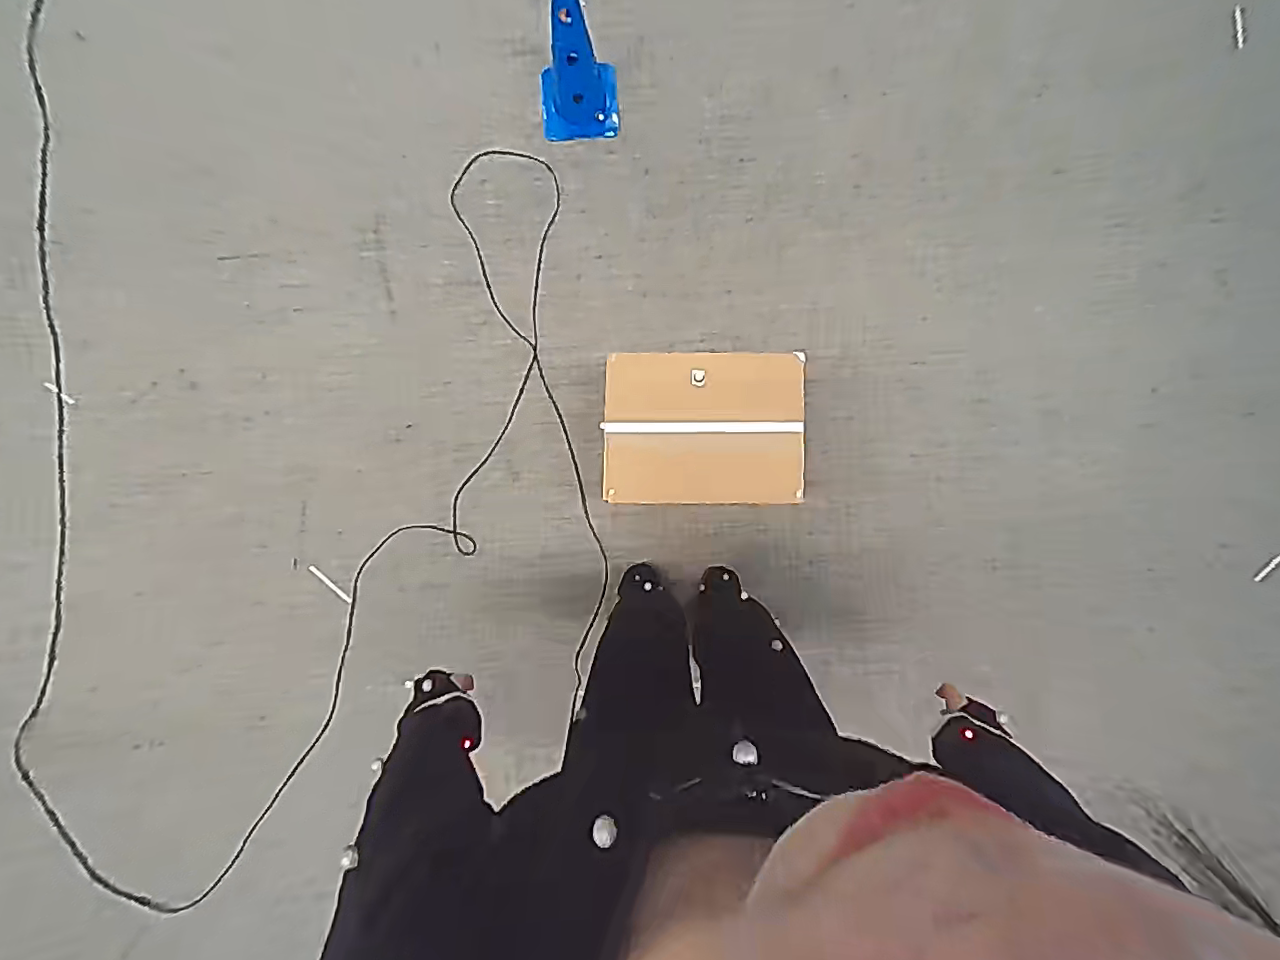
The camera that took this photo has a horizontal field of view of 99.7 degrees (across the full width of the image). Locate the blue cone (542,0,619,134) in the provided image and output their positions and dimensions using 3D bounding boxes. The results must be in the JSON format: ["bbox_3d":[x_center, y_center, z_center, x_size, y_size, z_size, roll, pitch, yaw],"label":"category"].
[{"bbox_3d":[-0.154,-1.008,1.244,0.193,0.380,0.192,-6,88,-1],"label":"blue cone"}]
